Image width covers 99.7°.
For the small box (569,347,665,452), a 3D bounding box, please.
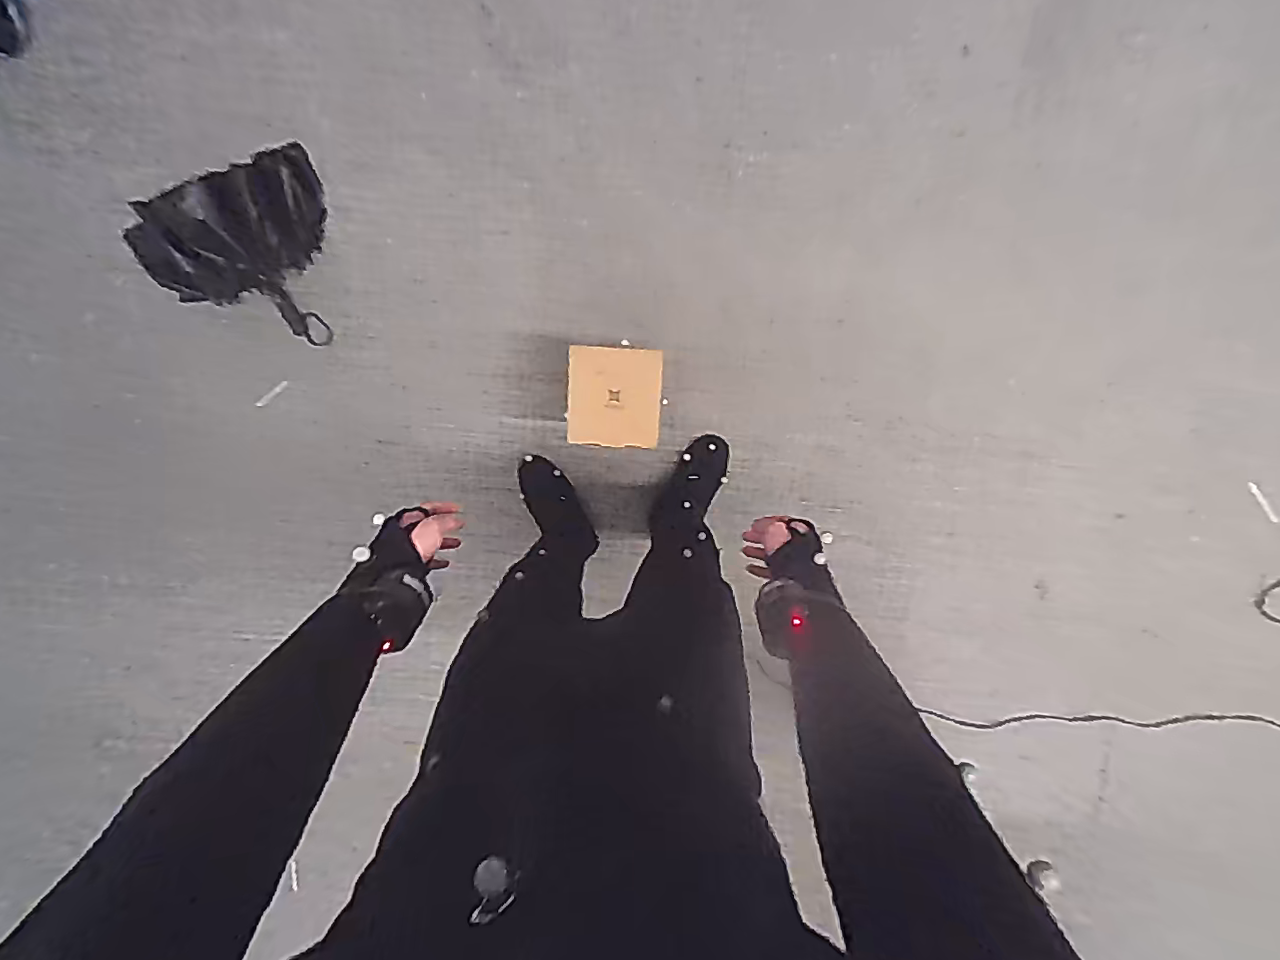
[{"bbox_3d":[-0.041,-0.156,1.025,0.168,0.176,0.179,3,101,-1],"label":"small box"}]
